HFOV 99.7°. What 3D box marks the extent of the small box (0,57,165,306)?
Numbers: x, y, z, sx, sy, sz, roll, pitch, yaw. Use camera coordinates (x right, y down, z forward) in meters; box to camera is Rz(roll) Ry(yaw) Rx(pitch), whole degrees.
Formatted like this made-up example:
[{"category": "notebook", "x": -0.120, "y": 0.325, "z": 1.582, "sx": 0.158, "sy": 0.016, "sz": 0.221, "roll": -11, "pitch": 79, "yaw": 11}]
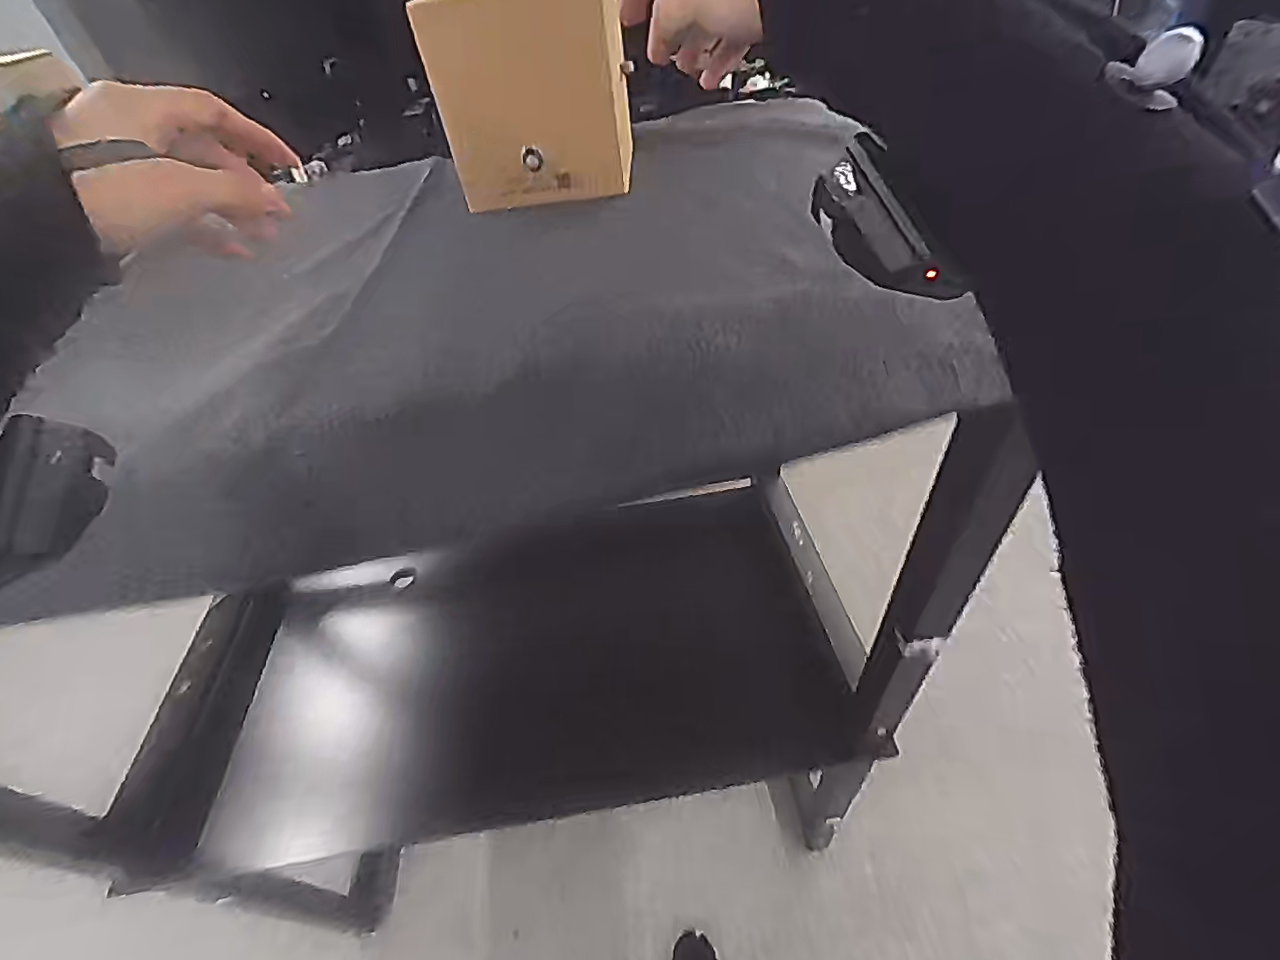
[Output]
[{"category": "small box", "x": -0.623, "y": -0.284, "z": 0.523, "sx": 0.168, "sy": 0.176, "sz": 0.179, "roll": -11, "pitch": 46, "yaw": -2}]
